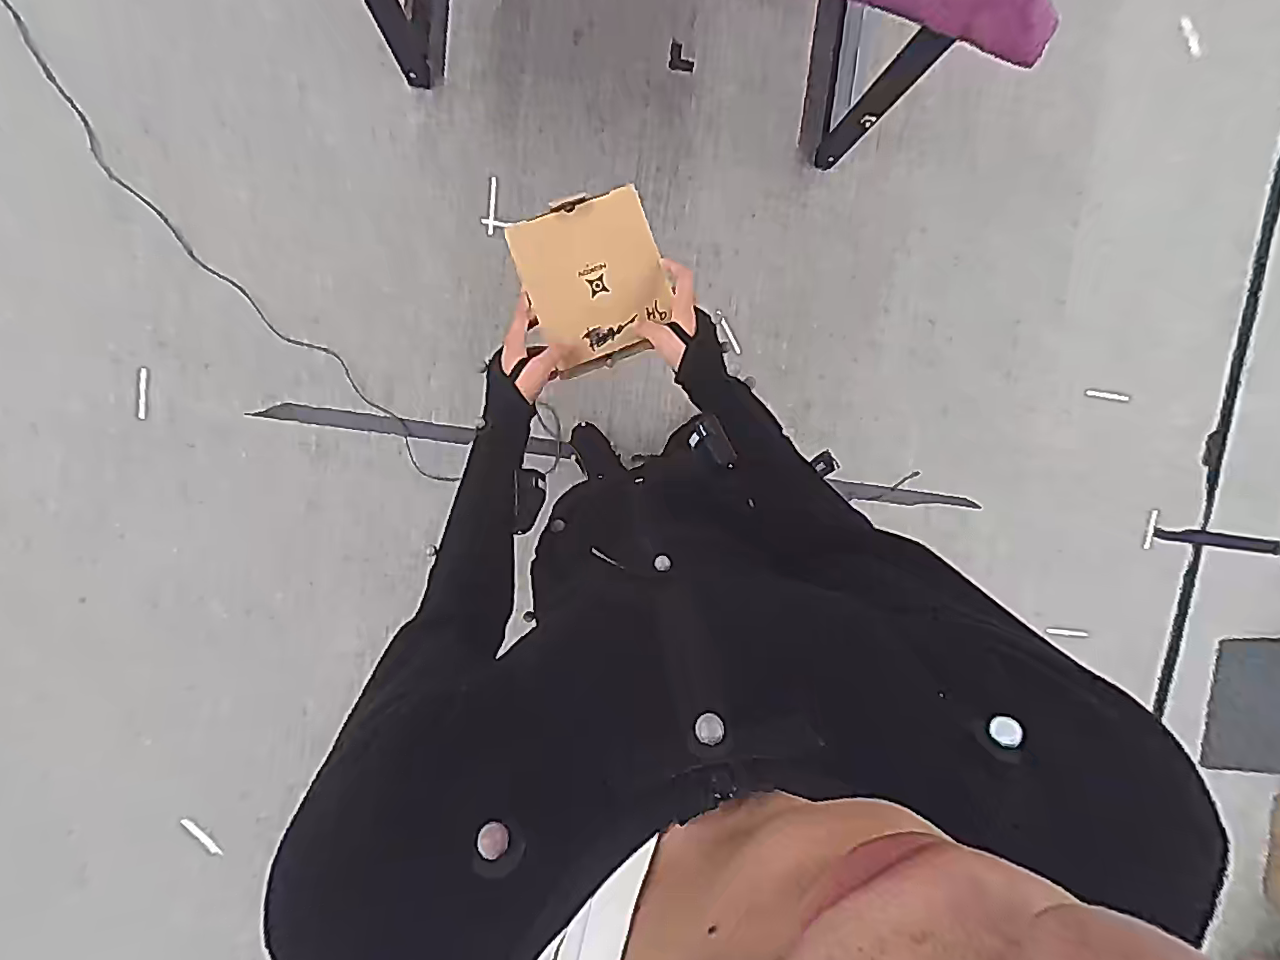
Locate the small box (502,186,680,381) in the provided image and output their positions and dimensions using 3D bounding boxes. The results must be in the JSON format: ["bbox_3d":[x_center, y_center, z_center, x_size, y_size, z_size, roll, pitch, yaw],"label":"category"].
[{"bbox_3d":[-0.066,-0.243,0.712,0.168,0.176,0.179,-21,98,-4],"label":"small box"}]
